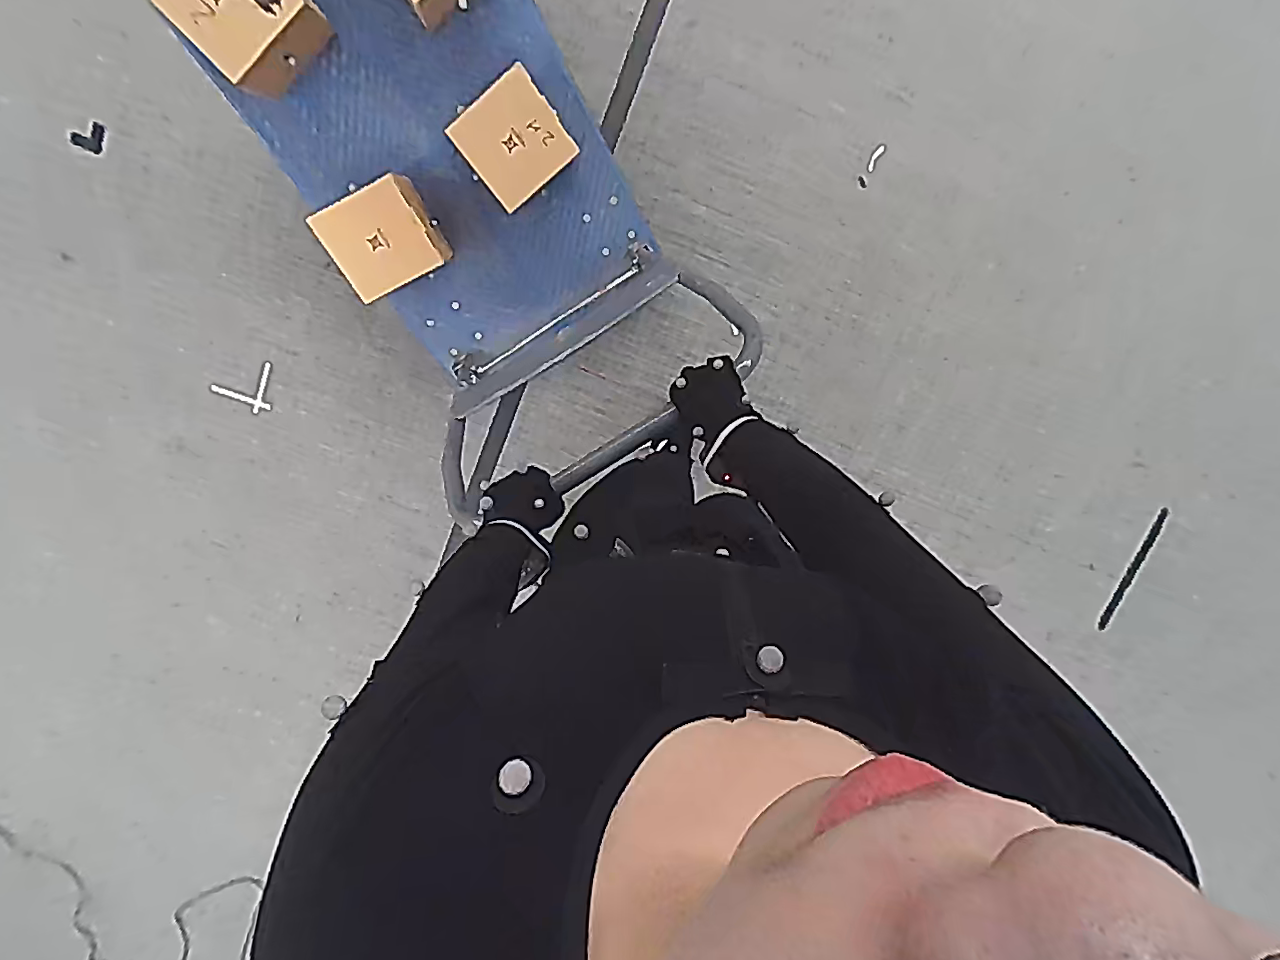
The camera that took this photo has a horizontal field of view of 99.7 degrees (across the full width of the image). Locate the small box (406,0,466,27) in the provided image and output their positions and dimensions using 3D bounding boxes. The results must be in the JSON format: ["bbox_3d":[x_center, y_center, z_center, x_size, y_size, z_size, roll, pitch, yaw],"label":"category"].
[{"bbox_3d":[-0.357,-0.897,0.878,0.168,0.176,0.179,-35,119,7],"label":"small box"}]

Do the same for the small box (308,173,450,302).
[{"bbox_3d":[-0.497,-0.474,1.064,0.179,0.176,0.168,-28,118,2],"label":"small box"}]

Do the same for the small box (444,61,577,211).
[{"bbox_3d":[-0.240,-0.640,1.032,0.179,0.176,0.168,-38,118,8],"label":"small box"}]
